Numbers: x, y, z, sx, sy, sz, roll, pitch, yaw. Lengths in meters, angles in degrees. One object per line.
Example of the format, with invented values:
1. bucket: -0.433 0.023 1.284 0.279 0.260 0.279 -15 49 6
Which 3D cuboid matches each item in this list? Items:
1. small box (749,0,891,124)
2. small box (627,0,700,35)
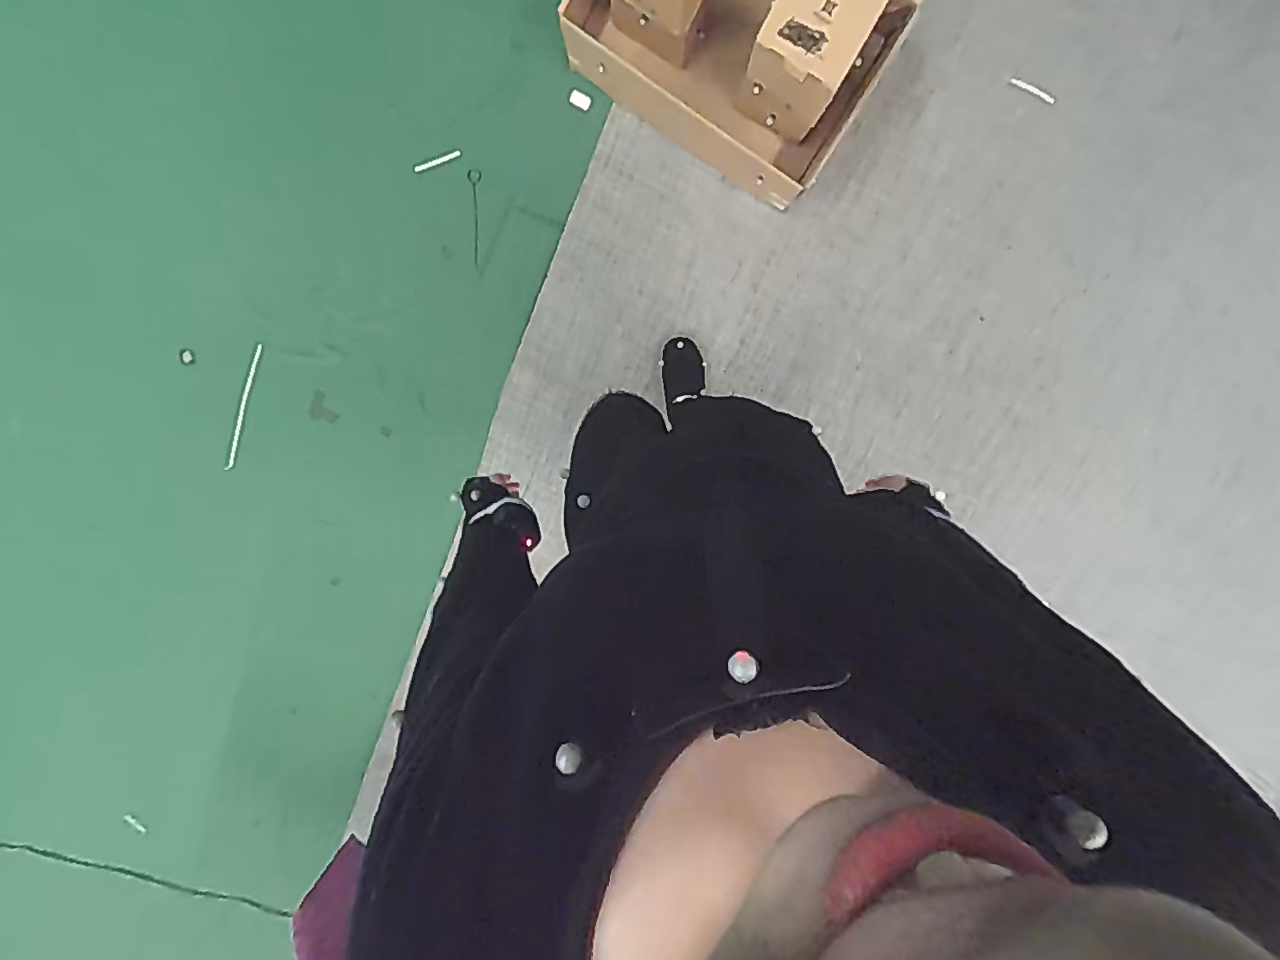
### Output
1. small box: 0.312 -0.793 0.978 0.168 0.176 0.179 30 103 -5
2. small box: 0.052 -0.953 0.949 0.168 0.176 0.179 30 105 -7
